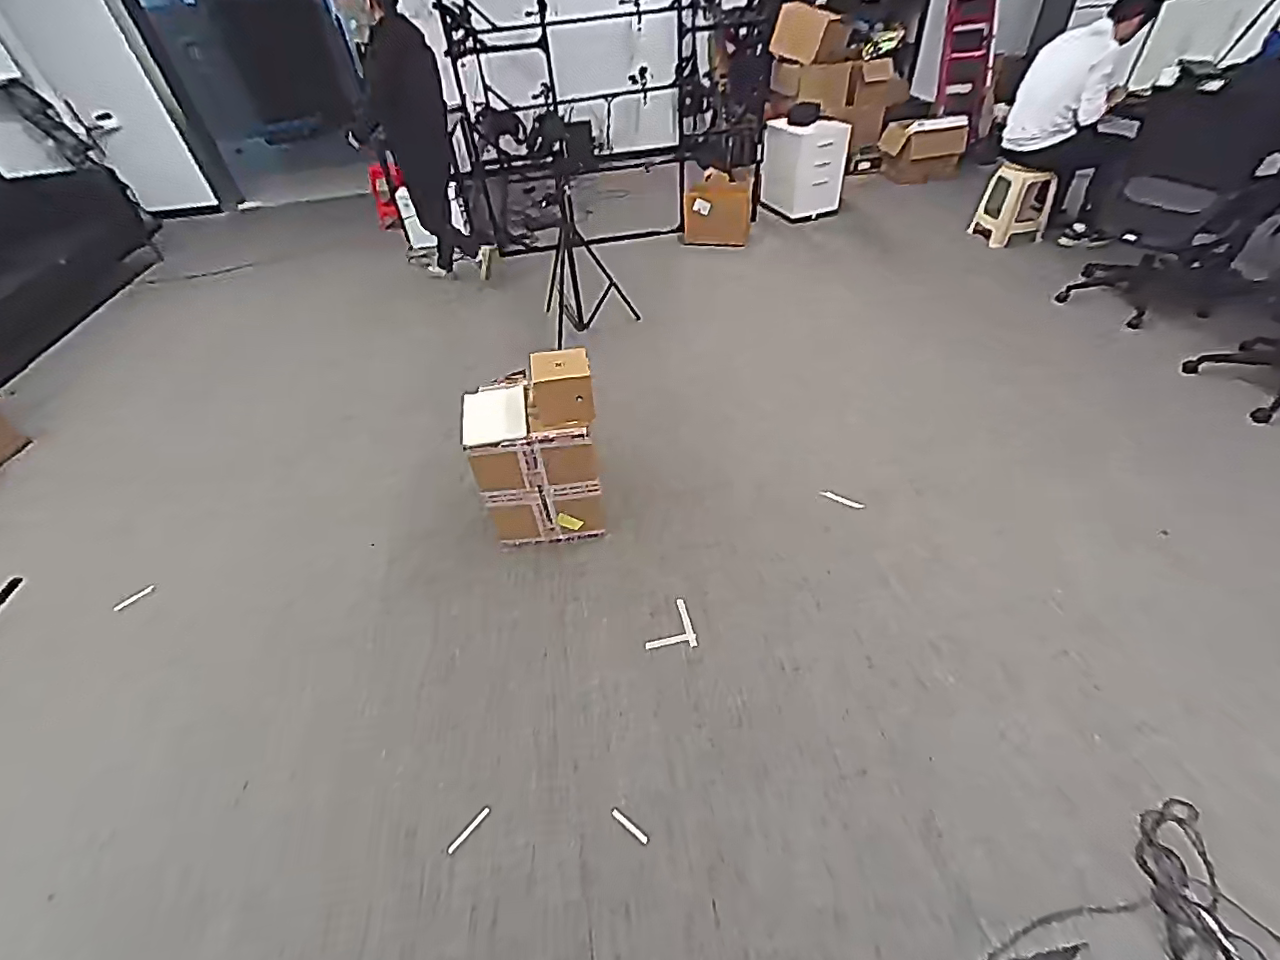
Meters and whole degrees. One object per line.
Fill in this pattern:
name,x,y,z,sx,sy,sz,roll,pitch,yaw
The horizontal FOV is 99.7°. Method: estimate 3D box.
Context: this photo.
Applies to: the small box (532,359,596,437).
small box,-0.237,-0.258,1.706,0.179,0.176,0.168,-10,44,-6
